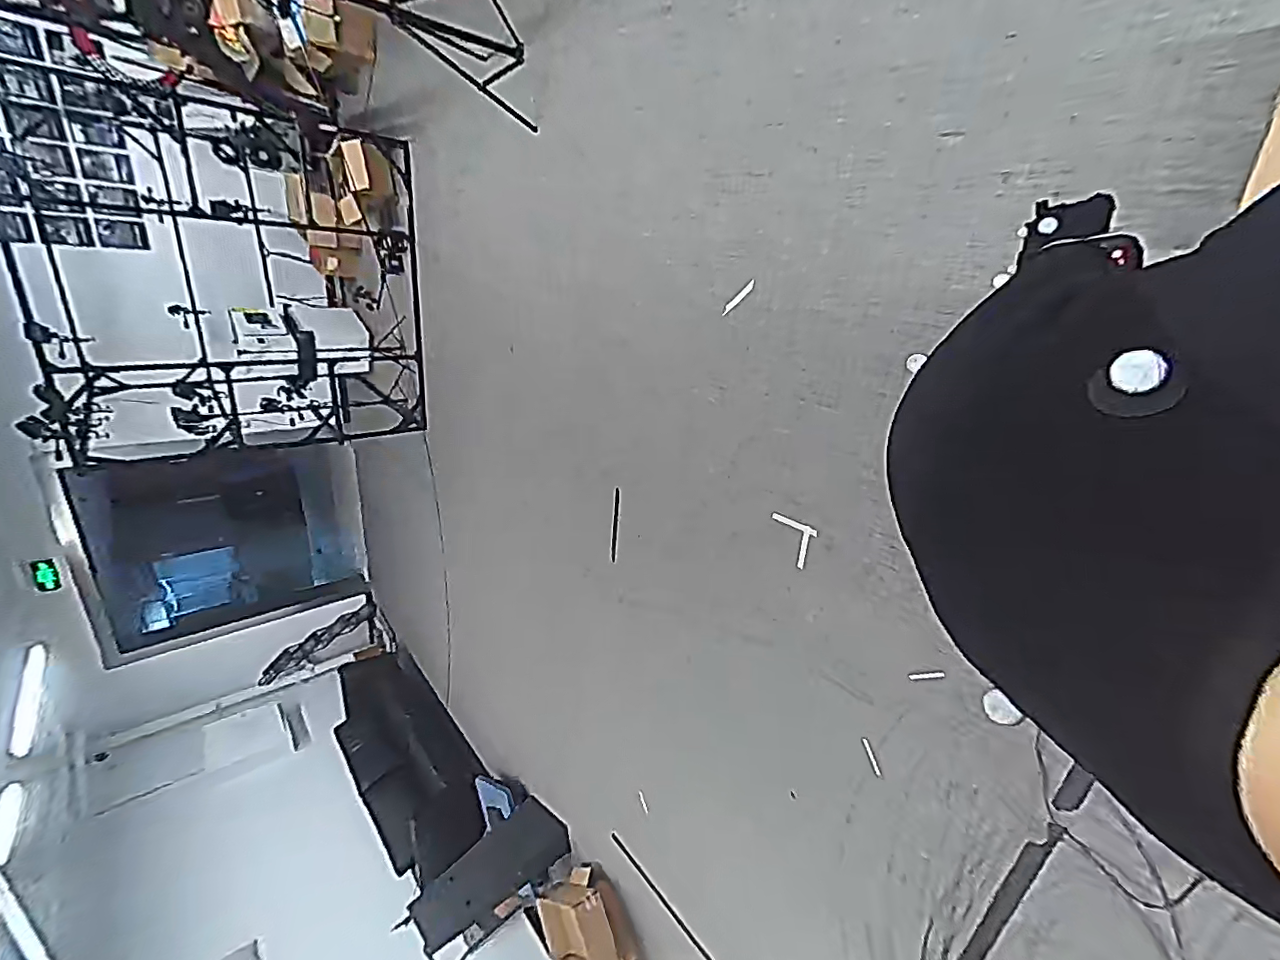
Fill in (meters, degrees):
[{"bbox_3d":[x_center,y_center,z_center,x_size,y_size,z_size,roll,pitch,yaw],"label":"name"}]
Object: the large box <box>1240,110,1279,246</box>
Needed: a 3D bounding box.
[{"bbox_3d":[1.122,-0.490,0.699,0.408,0.320,0.320,24,118,44],"label":"large box"}]
